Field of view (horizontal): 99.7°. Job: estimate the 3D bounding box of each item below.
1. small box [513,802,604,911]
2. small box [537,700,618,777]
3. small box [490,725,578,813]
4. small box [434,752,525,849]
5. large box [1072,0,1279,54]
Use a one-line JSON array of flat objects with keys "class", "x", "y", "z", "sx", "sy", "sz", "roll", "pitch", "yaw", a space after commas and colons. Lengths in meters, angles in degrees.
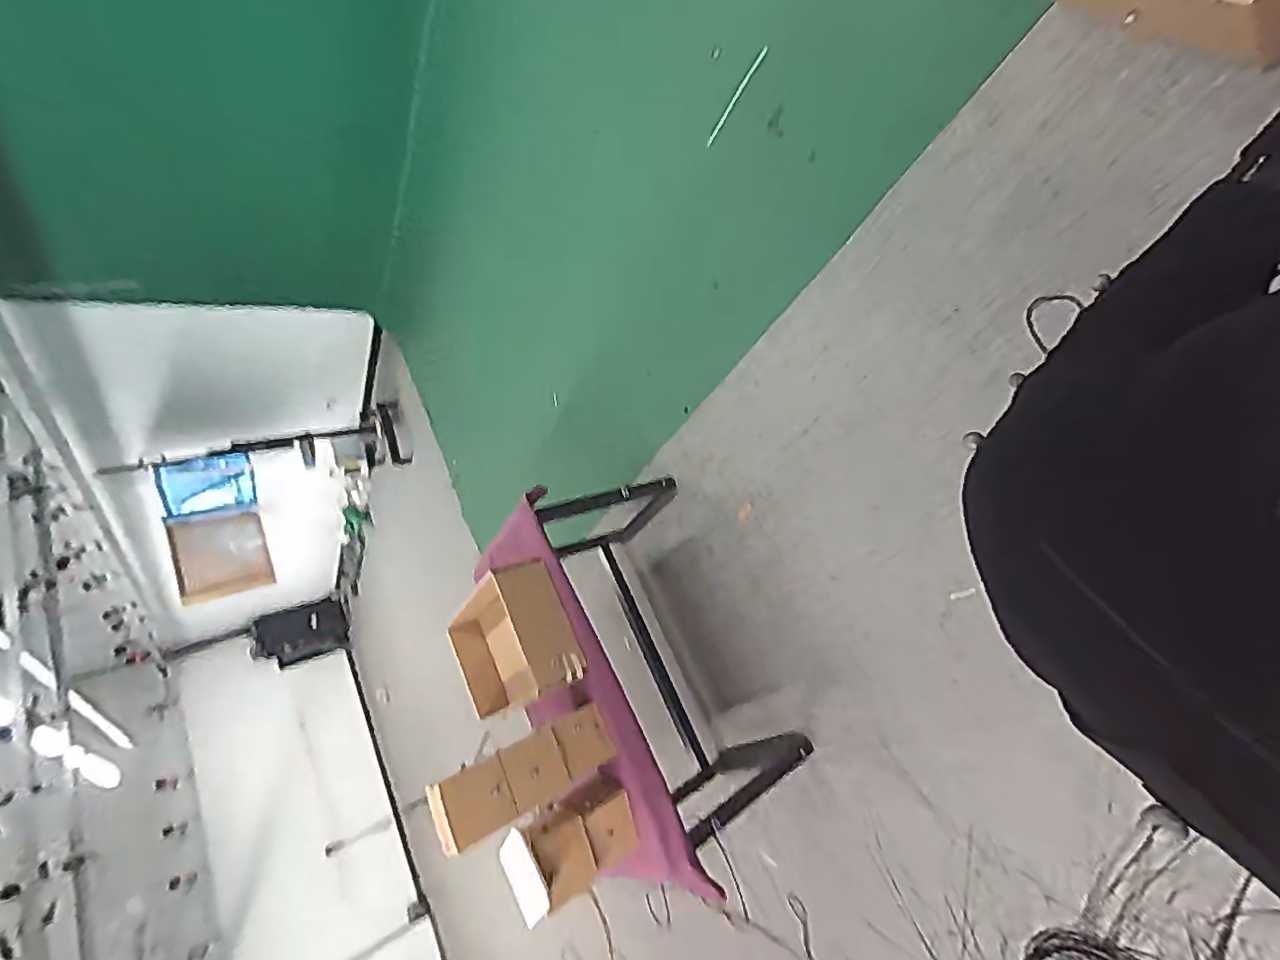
[{"class": "small box", "x": -0.227, "y": 1.042, "z": 1.517, "sx": 0.168, "sy": 0.176, "sz": 0.179, "roll": -28, "pitch": 79, "yaw": 51}, {"class": "small box", "x": -0.187, "y": 0.797, "z": 1.663, "sx": 0.179, "sy": 0.176, "sz": 0.168, "roll": -46, "pitch": 64, "yaw": 48}, {"class": "small box", "x": -0.306, "y": 0.826, "z": 1.553, "sx": 0.168, "sy": 0.176, "sz": 0.179, "roll": -47, "pitch": 63, "yaw": 48}, {"class": "small box", "x": -0.433, "y": 0.854, "z": 1.454, "sx": 0.168, "sy": 0.176, "sz": 0.179, "roll": -47, "pitch": 63, "yaw": 48}, {"class": "large box", "x": 0.933, "y": -0.941, "z": 0.843, "sx": 0.408, "sy": 0.320, "sz": 0.320, "roll": 53, "pitch": 135, "yaw": 29}]
